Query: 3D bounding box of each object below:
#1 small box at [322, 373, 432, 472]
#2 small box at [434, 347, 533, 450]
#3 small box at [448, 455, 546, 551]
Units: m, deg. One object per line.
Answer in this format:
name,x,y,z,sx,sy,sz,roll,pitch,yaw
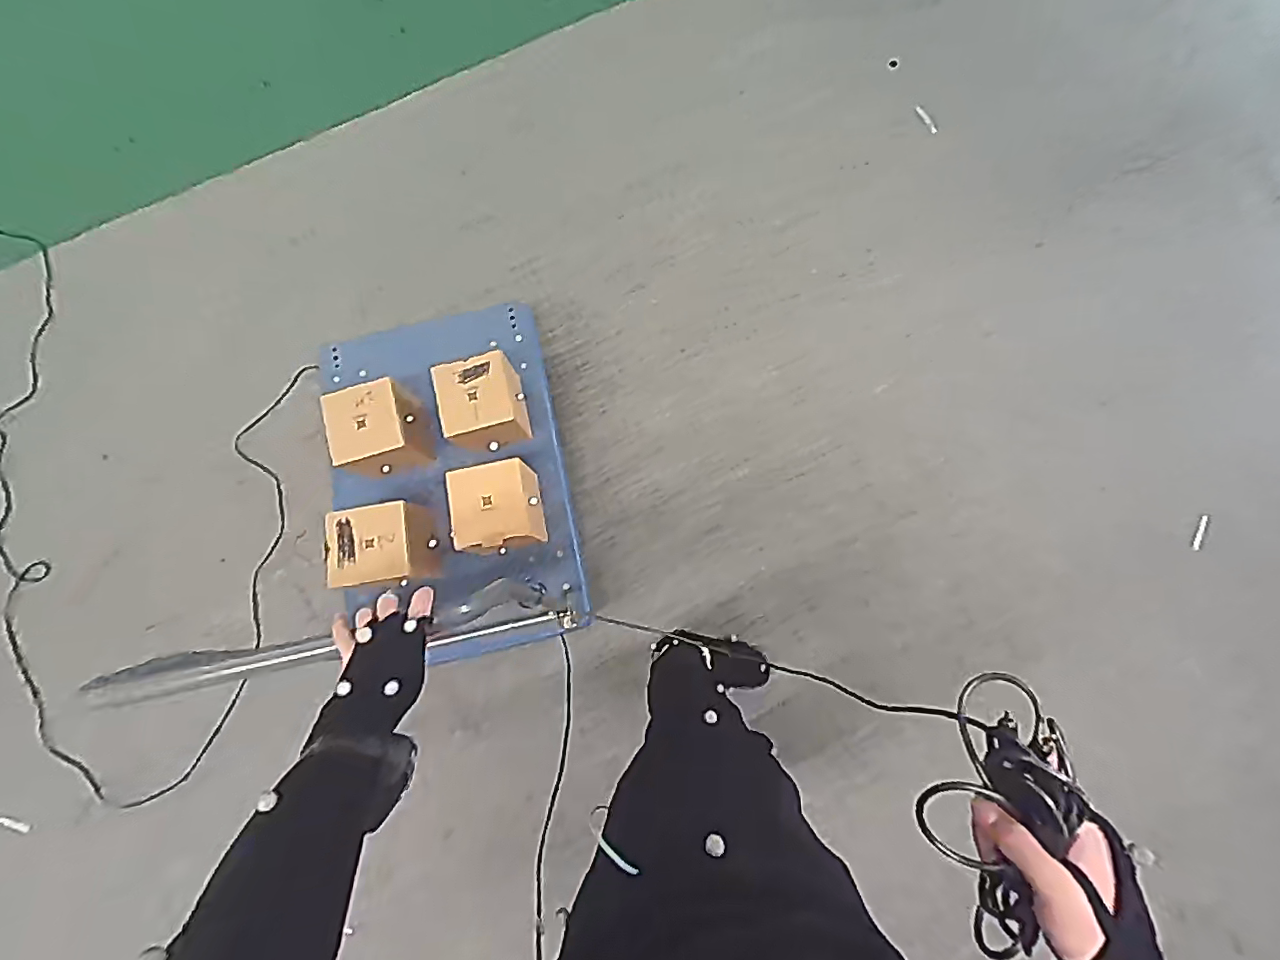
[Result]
small box,-0.617,-0.127,1.288,0.168,0.176,0.179,-16,79,-1
small box,-0.367,-0.188,1.289,0.168,0.176,0.179,-14,80,0
small box,-0.322,0.058,1.240,0.168,0.176,0.179,-11,79,0
